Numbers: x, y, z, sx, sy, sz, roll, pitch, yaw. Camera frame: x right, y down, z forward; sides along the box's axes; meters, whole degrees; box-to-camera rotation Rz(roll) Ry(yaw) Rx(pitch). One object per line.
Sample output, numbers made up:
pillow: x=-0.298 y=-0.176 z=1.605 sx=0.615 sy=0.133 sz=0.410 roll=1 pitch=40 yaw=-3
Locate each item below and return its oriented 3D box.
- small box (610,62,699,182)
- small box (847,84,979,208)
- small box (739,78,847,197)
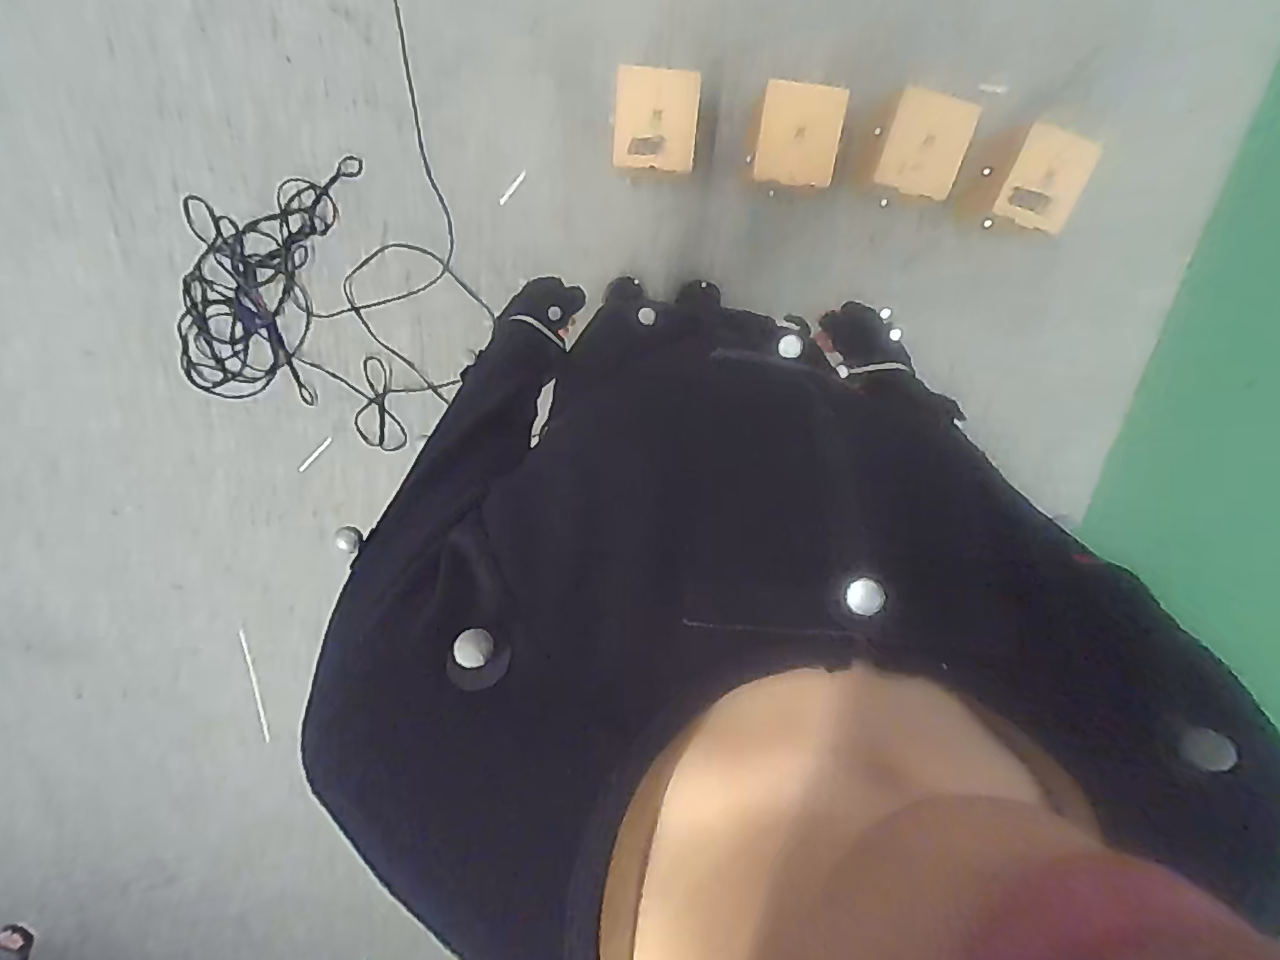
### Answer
small box: x=0.028 y=-0.745 z=1.146 sx=0.168 sy=0.176 sz=0.179 roll=4 pitch=110 yaw=-2
small box: x=0.573 y=-0.707 z=1.165 sx=0.168 sy=0.176 sz=0.179 roll=13 pitch=111 yaw=-5
small box: x=0.317 y=-0.723 z=1.158 sx=0.168 sy=0.176 sz=0.179 roll=5 pitch=112 yaw=-2
